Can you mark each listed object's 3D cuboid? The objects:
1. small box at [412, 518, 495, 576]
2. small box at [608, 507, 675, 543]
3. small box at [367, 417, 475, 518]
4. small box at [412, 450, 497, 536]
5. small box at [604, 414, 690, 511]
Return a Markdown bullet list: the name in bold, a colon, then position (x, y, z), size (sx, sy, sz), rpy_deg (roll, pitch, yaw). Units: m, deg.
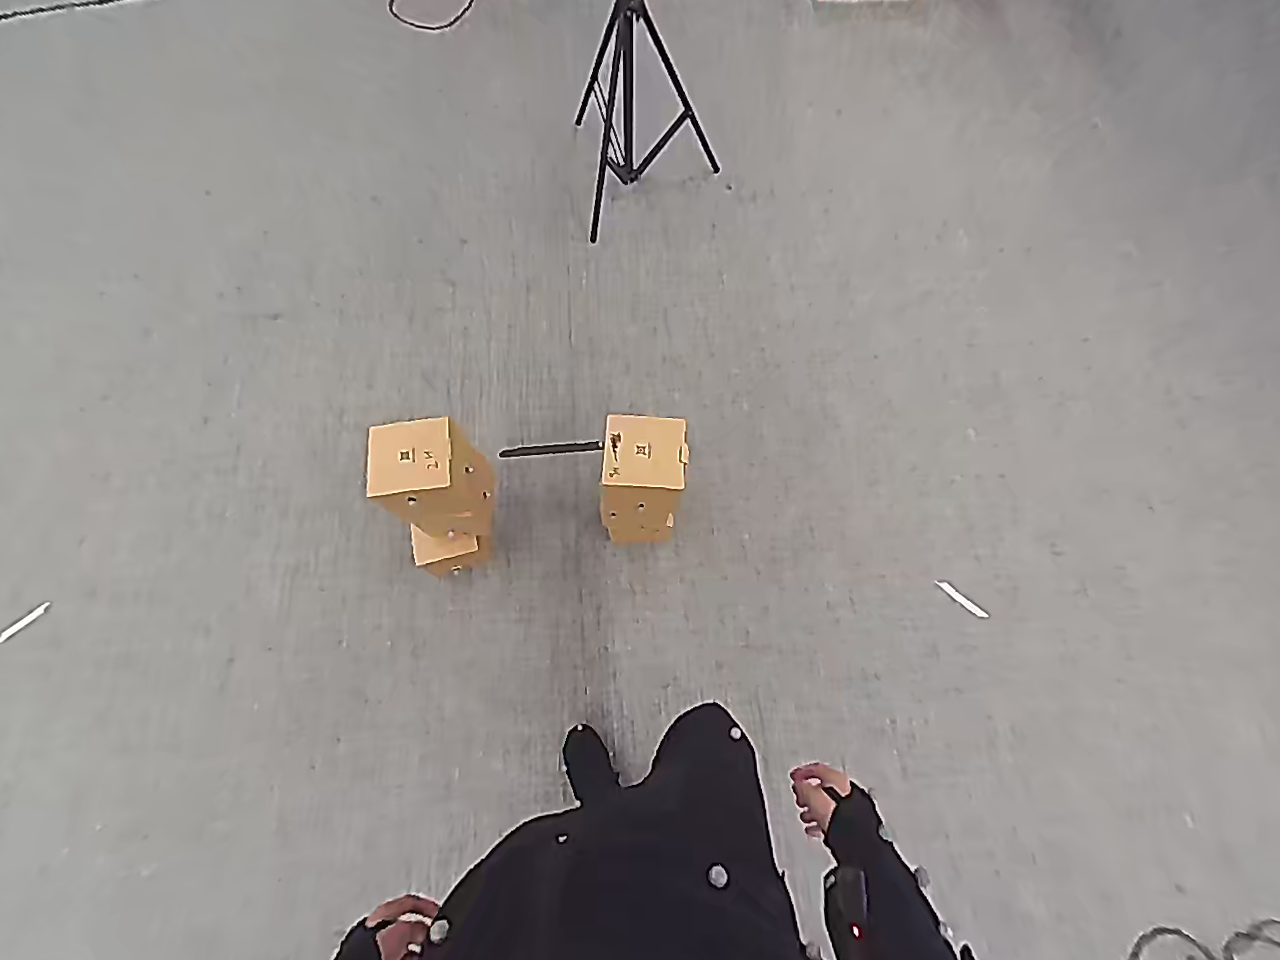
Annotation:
- **small box**: position (-0.513, 0.152, 1.494), size (0.168, 0.176, 0.179), rpy_deg (-14, 71, -5)
- **small box**: position (0.001, 0.077, 1.526), size (0.179, 0.176, 0.168), rpy_deg (-3, 70, -3)
- **small box**: position (-0.481, -0.022, 1.210), size (0.179, 0.176, 0.168), rpy_deg (-7, 69, -3)
- **small box**: position (-0.464, 0.036, 1.363), size (0.168, 0.176, 0.179), rpy_deg (-1, 70, 1)
- **small box**: position (0.013, -0.033, 1.217), size (0.179, 0.176, 0.168), rpy_deg (4, 69, -1)
